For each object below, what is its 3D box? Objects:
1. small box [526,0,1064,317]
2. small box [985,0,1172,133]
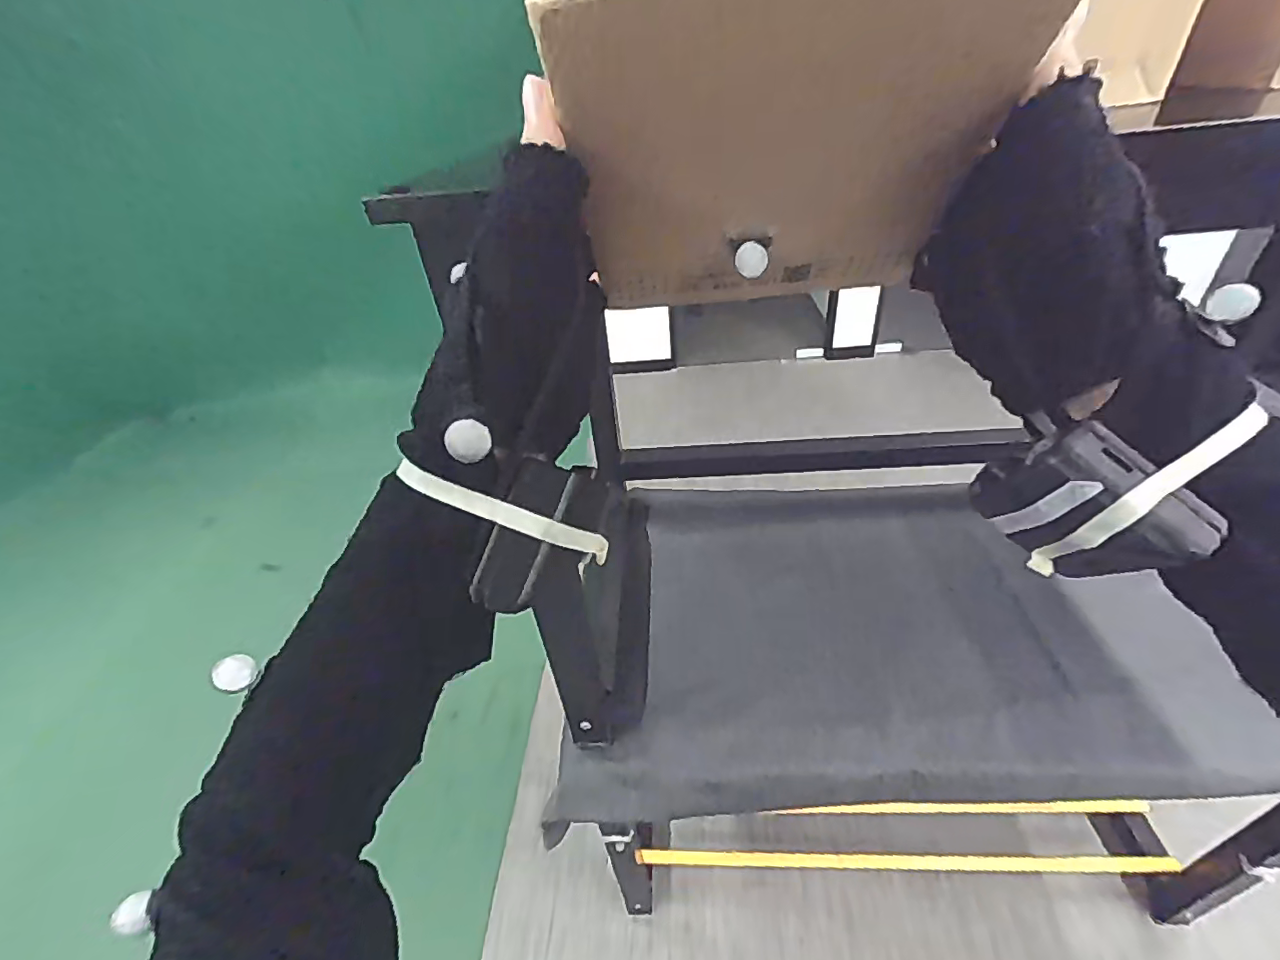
[{"bbox_3d":[0.049,-0.203,0.258,0.168,0.176,0.179,-4,76,4],"label":"small box"},{"bbox_3d":[0.287,-0.378,0.428,0.168,0.176,0.179,-3,36,5],"label":"small box"}]
